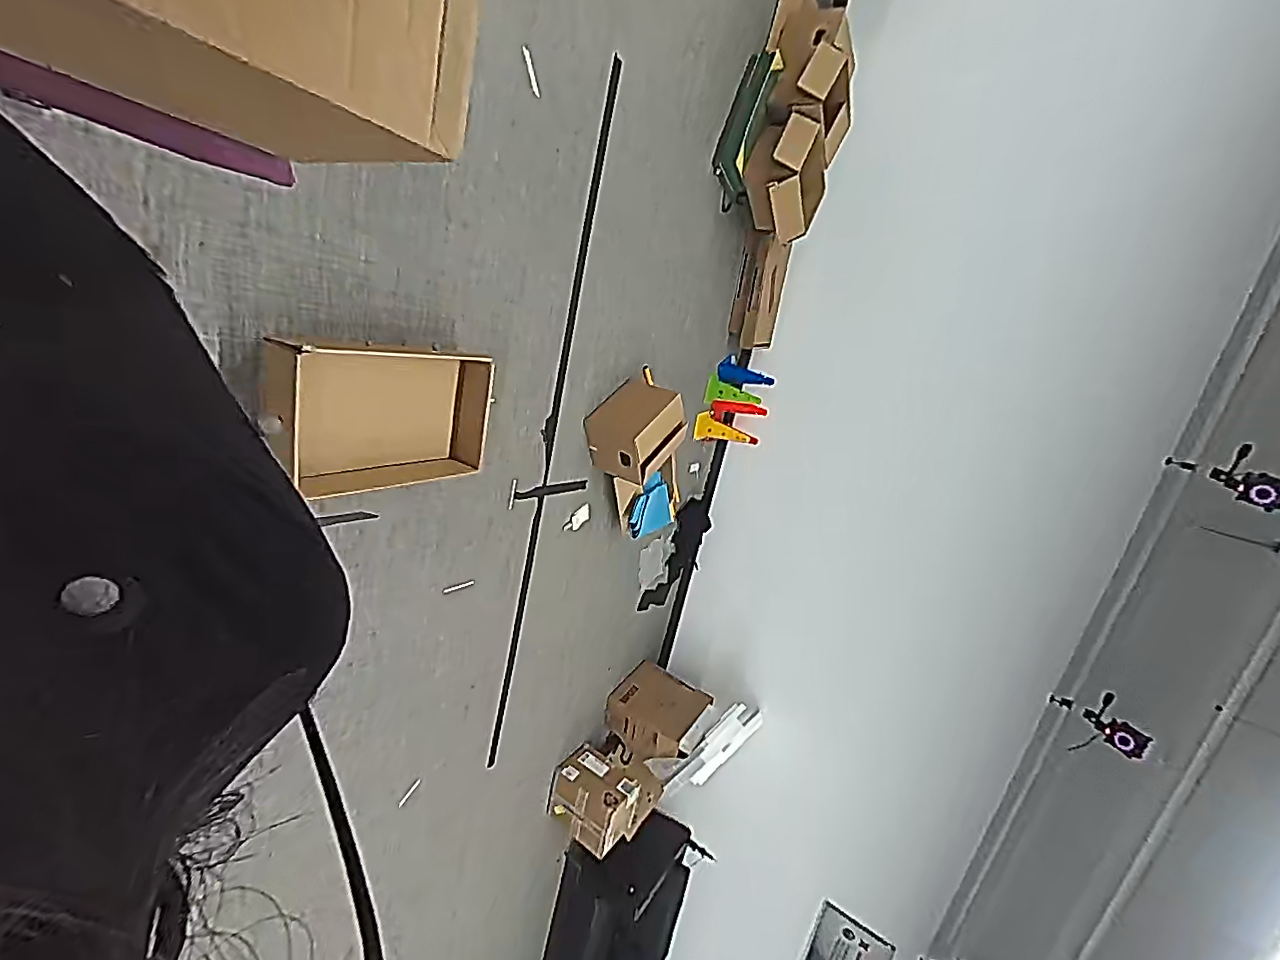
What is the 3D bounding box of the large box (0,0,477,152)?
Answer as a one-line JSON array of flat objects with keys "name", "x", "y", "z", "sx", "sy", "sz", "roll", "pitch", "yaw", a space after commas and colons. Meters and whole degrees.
[{"name": "large box", "x": -0.378, "y": -0.490, "z": 0.403, "sx": 0.408, "sy": 0.320, "sz": 0.320, "roll": -11, "pitch": 119, "yaw": -58}]
